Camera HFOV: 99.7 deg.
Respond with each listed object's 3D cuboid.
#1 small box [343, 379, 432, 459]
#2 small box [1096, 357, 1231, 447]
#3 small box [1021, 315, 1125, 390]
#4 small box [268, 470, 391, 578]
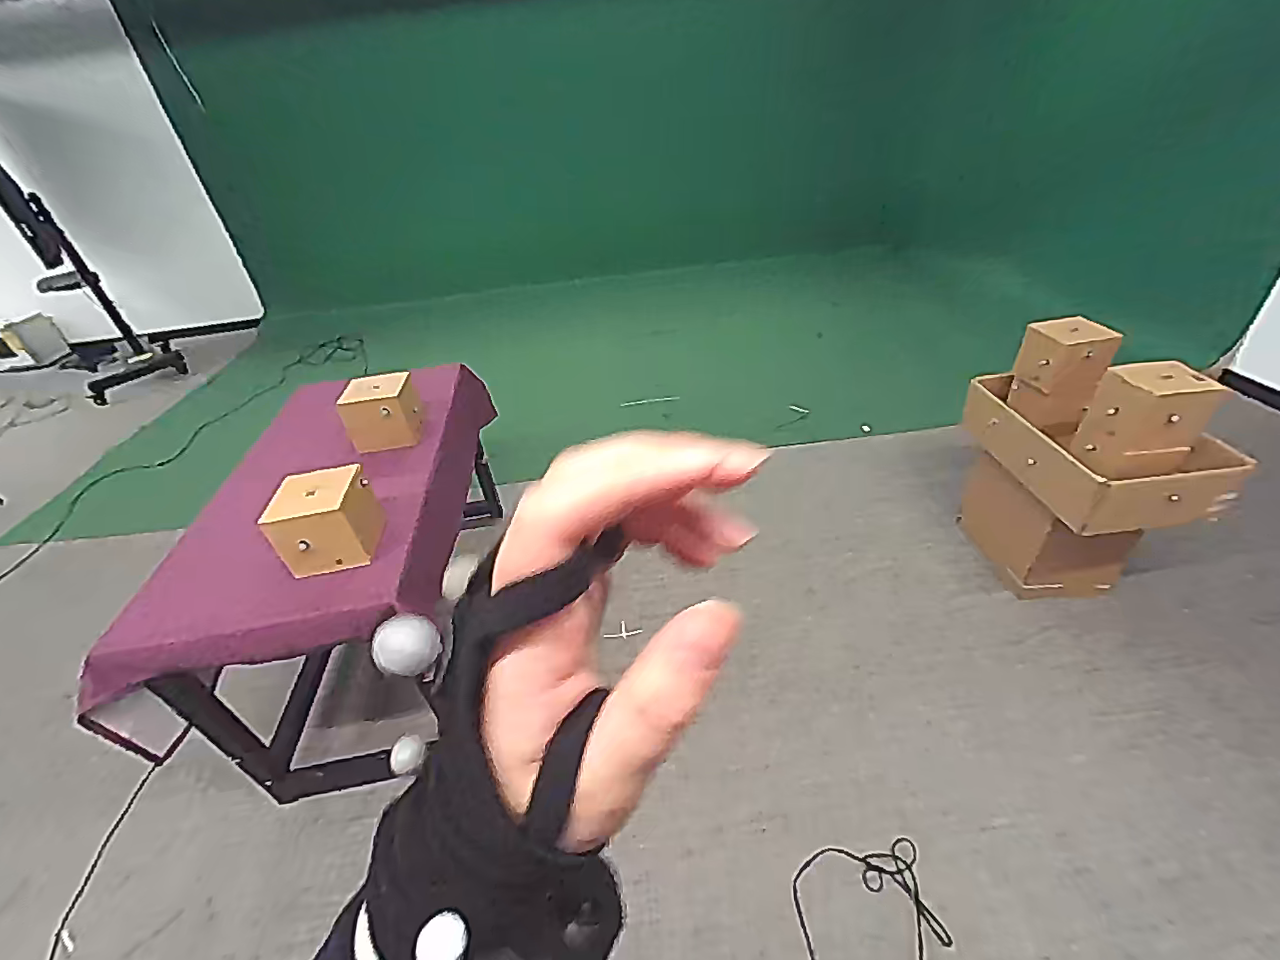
[{"bbox_3d":[-0.754,-0.185,1.639,0.179,0.176,0.168,-9,36,-1],"label":"small box"},{"bbox_3d":[1.340,-0.200,1.407,0.179,0.176,0.168,-7,37,3],"label":"small box"},{"bbox_3d":[1.321,-0.390,1.671,0.179,0.176,0.168,-9,37,-2],"label":"small box"},{"bbox_3d":[-0.692,0.106,1.232,0.168,0.176,0.179,-11,35,-4],"label":"small box"}]
